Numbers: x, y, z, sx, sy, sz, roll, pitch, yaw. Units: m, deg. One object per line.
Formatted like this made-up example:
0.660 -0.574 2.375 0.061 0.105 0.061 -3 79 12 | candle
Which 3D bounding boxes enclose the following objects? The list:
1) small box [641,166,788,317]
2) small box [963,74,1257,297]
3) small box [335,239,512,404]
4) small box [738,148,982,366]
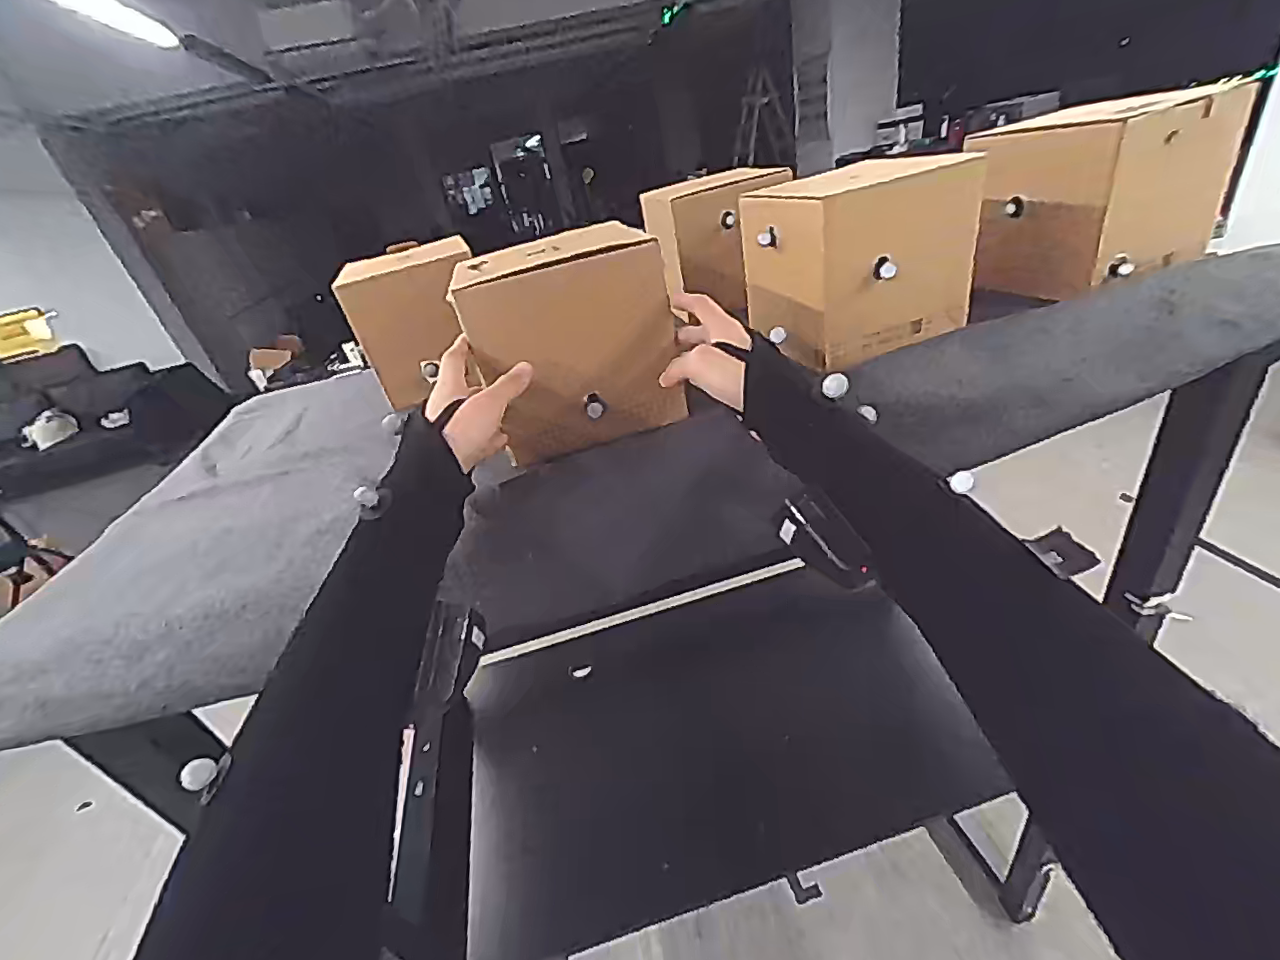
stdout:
0.116 -0.359 0.815 0.179 0.176 0.168 -17 32 -5 | small box
0.486 -0.312 0.596 0.168 0.176 0.179 -20 30 -10 | small box
-0.292 -0.224 0.756 0.168 0.176 0.179 -21 32 -10 | small box
0.222 -0.234 0.577 0.168 0.176 0.179 -18 31 -7 | small box
